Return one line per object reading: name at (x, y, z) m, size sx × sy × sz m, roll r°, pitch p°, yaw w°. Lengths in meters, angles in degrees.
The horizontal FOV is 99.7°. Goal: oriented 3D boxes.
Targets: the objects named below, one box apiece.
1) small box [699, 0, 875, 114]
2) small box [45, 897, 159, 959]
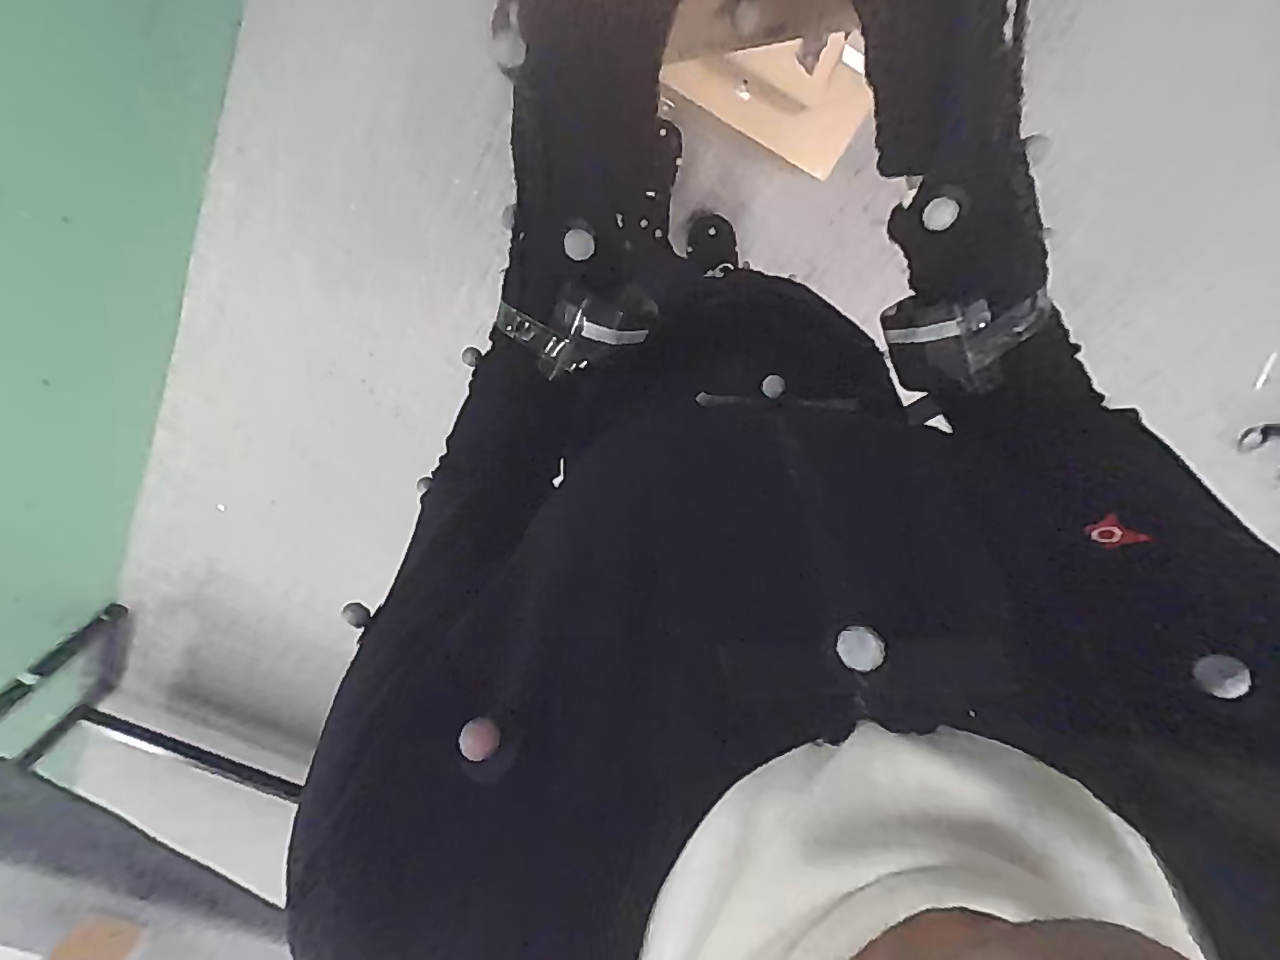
small box at (0.193, -0.622, 0.730) m, size 0.179 × 0.176 × 0.168 m, roll 20°, pitch 120°, yaw -9°
small box at (-1.461, 1.268, 1.460) m, size 0.179 × 0.176 × 0.168 m, roll 30°, pitch 117°, yaw -12°
